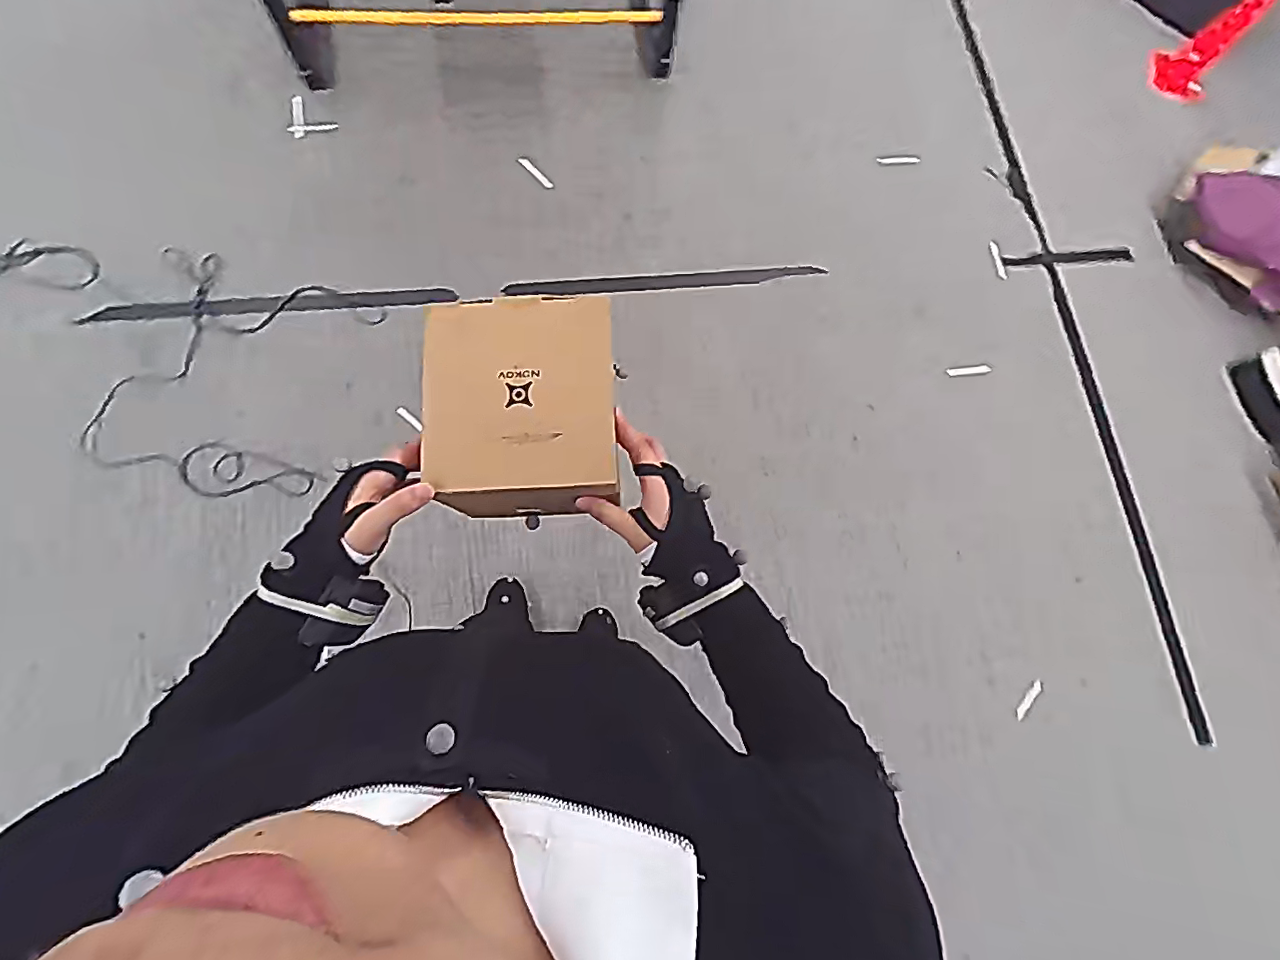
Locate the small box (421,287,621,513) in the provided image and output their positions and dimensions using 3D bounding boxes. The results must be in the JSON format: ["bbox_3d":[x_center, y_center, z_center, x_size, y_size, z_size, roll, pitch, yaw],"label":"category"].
[{"bbox_3d":[-0.107,-0.069,0.545,0.168,0.176,0.179,-4,79,-1],"label":"small box"}]
